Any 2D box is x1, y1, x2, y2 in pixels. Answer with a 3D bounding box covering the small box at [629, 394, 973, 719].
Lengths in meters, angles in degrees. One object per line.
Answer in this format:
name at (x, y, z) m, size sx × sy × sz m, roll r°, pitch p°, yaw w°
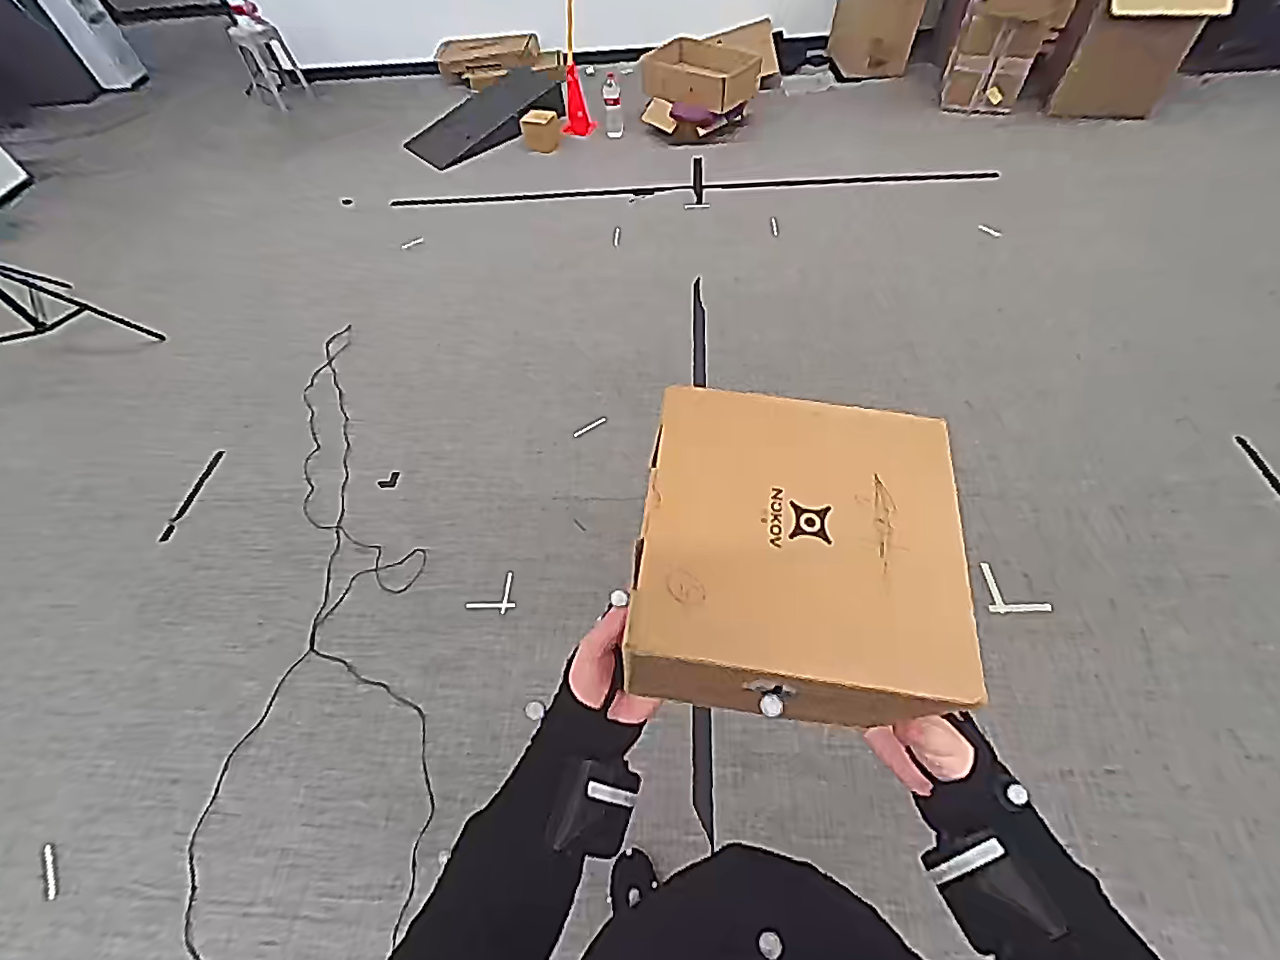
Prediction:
small box at (0.090, 0.064, 0.378) m, size 0.179 × 0.176 × 0.168 m, roll 9°, pitch 62°, yaw 2°
